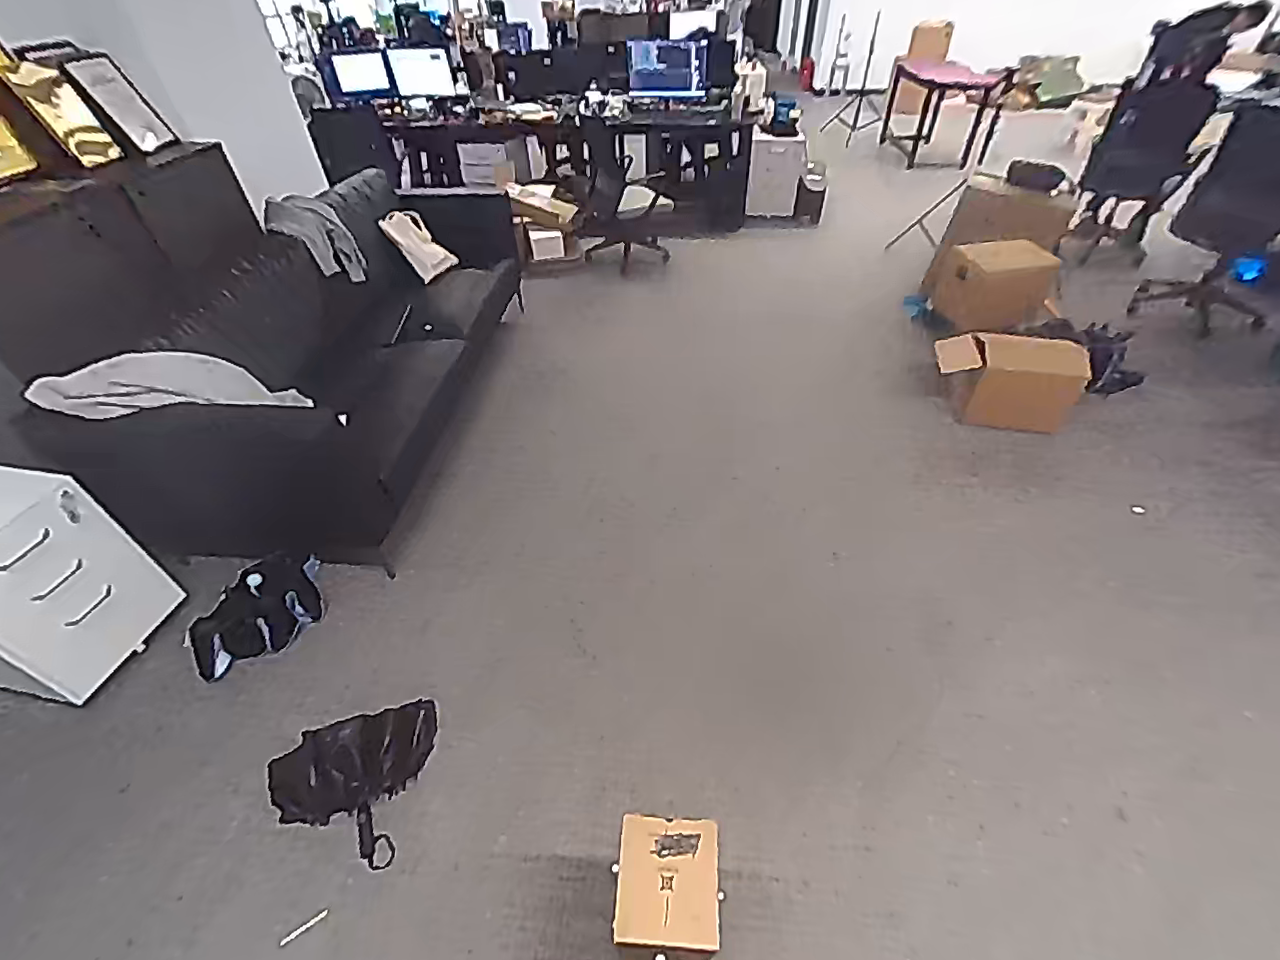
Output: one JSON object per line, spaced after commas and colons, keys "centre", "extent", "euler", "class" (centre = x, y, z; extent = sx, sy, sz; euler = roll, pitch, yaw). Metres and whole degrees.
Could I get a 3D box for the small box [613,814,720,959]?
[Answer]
{"centre": [0.046, 0.701, 0.924], "extent": [0.168, 0.176, 0.179], "euler": [3, 44, 4], "class": "small box"}
